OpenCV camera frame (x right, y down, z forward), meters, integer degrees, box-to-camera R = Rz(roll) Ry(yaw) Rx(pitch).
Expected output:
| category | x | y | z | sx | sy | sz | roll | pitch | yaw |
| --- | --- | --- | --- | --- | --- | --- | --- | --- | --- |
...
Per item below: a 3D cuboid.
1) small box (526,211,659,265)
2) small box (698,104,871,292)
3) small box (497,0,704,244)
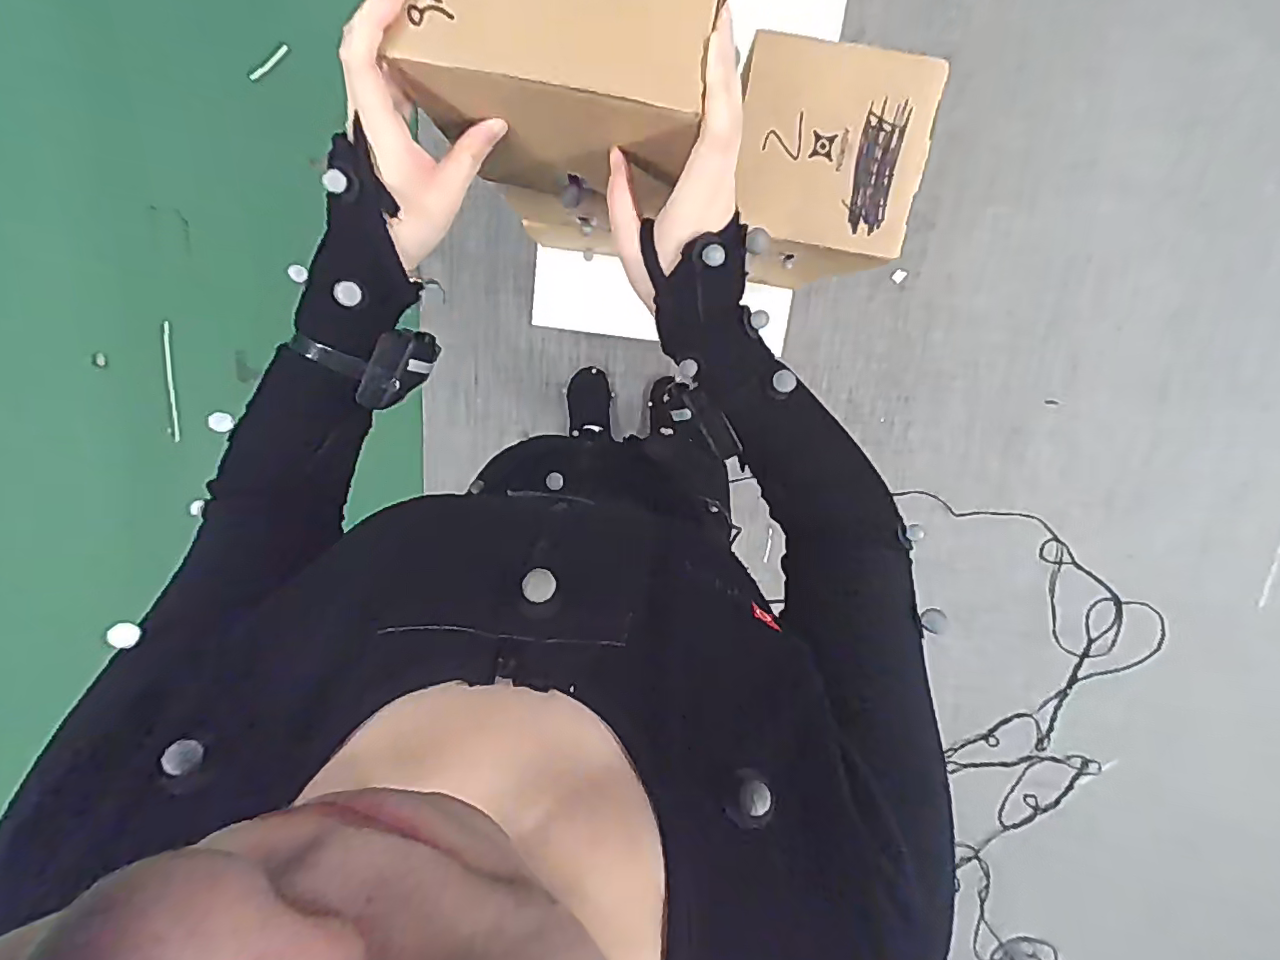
| category | x | y | z | sx | sy | sz | roll | pitch | yaw |
| --- | --- | --- | --- | --- | --- | --- | --- | --- | --- |
| small box | -0.049 | -0.398 | 0.716 | 0.168 | 0.176 | 0.179 | 7 | 105 | -3 |
| small box | 0.178 | -0.361 | 0.727 | 0.168 | 0.176 | 0.179 | 8 | 105 | -3 |
| small box | -0.041 | -0.361 | 0.556 | 0.168 | 0.176 | 0.179 | 8 | 104 | -3 |
